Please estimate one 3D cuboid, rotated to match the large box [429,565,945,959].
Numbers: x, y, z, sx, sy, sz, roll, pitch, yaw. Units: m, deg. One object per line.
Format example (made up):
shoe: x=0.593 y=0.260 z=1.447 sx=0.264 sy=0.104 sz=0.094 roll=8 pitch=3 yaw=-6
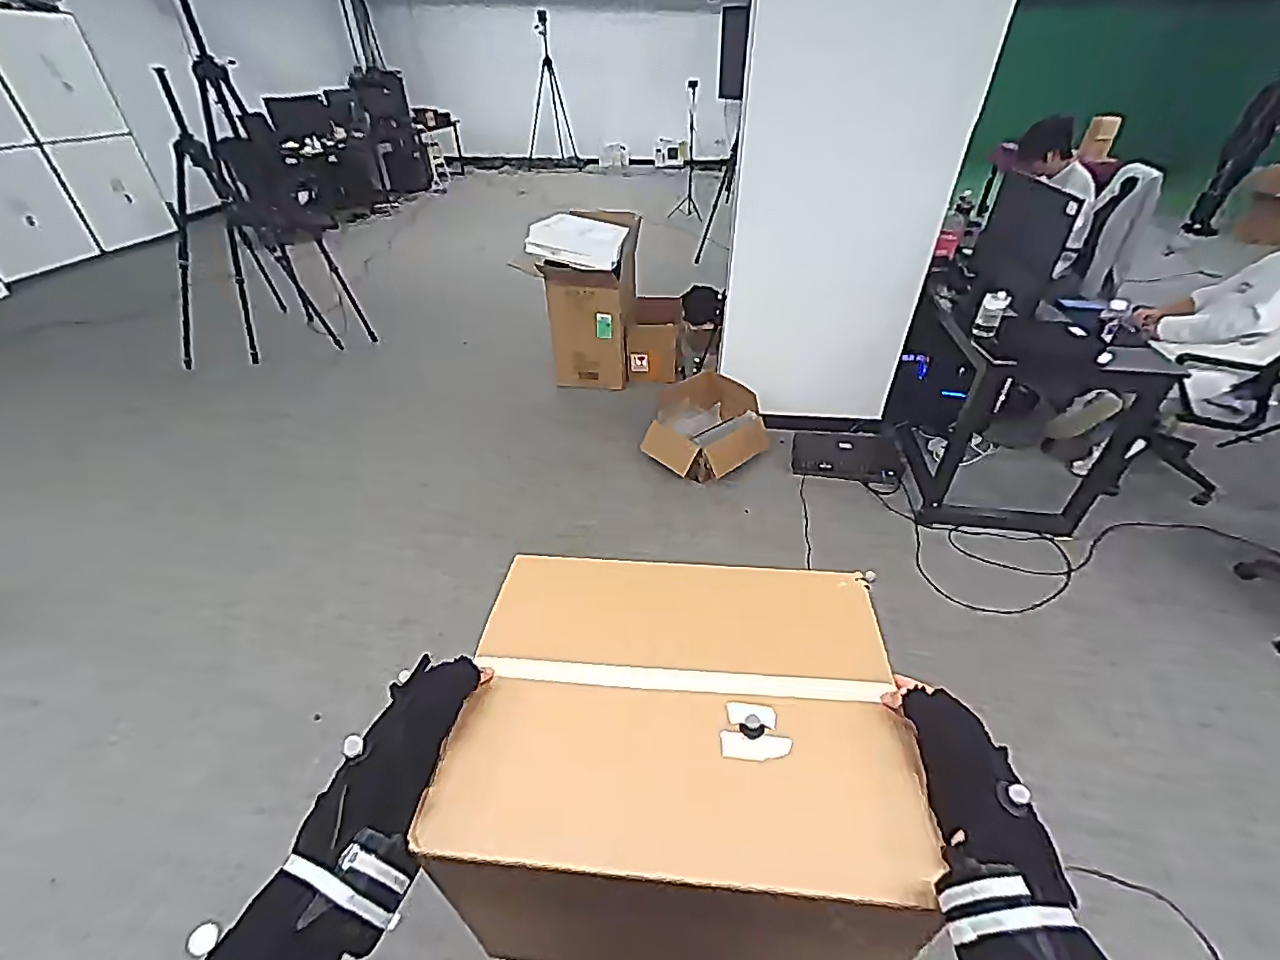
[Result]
large box: x=0.043 y=0.320 z=0.615 sx=0.408 sy=0.320 sz=0.320 roll=2 pitch=37 yaw=6
